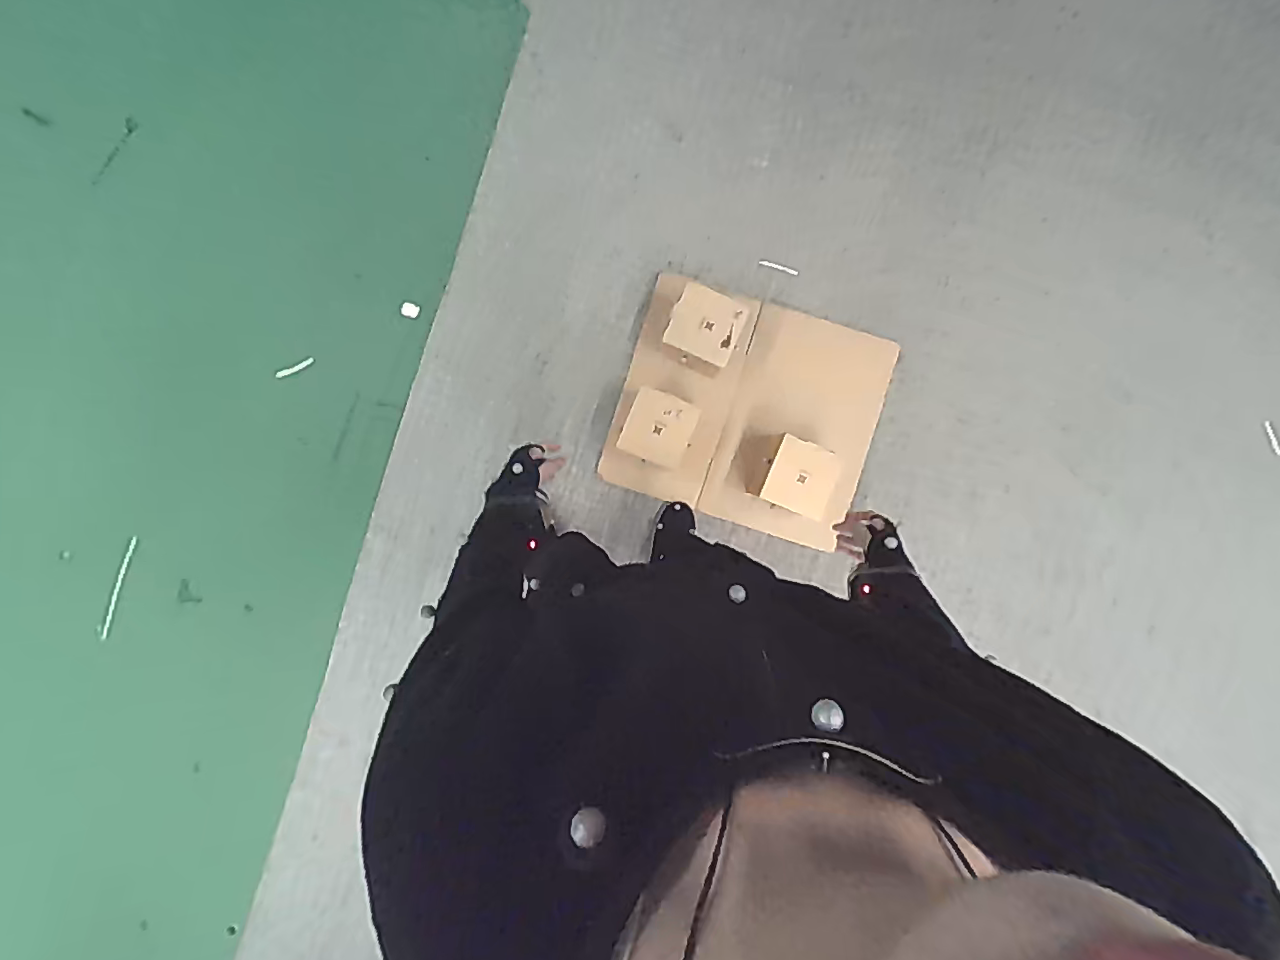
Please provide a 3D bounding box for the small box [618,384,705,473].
[{"bbox_3d":[0.056,-0.128,1.408,0.168,0.176,0.179,23,91,0],"label":"small box"}]

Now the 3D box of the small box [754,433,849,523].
[{"bbox_3d":[0.406,-0.005,1.398,0.168,0.176,0.179,22,90,1],"label":"small box"}]

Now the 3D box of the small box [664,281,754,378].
[{"bbox_3d":[0.171,-0.381,1.403,0.179,0.176,0.168,25,91,1],"label":"small box"}]
